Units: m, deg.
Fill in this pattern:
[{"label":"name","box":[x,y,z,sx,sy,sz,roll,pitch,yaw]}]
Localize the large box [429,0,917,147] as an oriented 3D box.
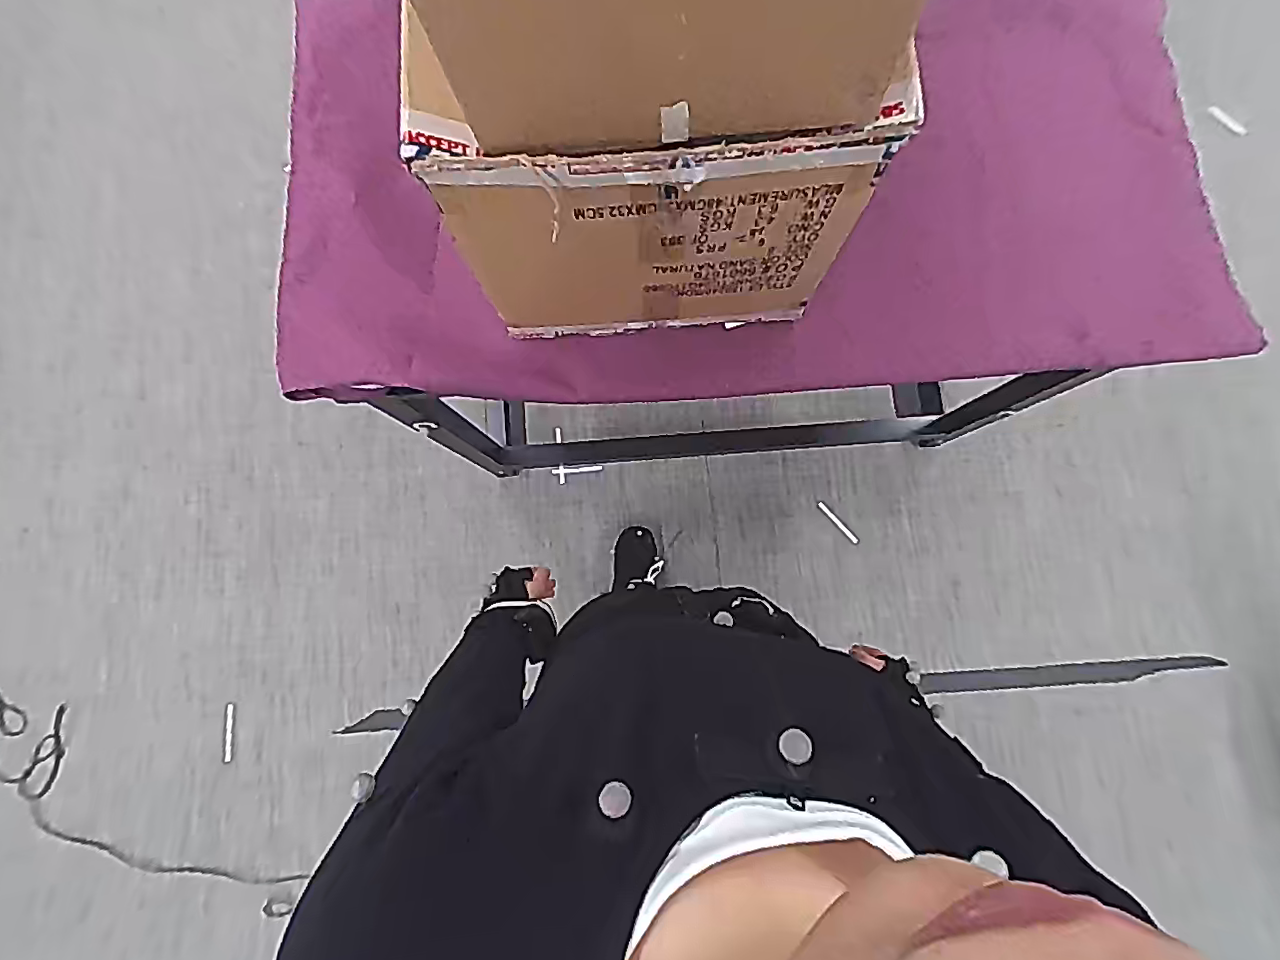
[{"label":"large box","box":[0.008,-0.492,0.307,0.320,0.320,0.408,-4,81,5]}]
